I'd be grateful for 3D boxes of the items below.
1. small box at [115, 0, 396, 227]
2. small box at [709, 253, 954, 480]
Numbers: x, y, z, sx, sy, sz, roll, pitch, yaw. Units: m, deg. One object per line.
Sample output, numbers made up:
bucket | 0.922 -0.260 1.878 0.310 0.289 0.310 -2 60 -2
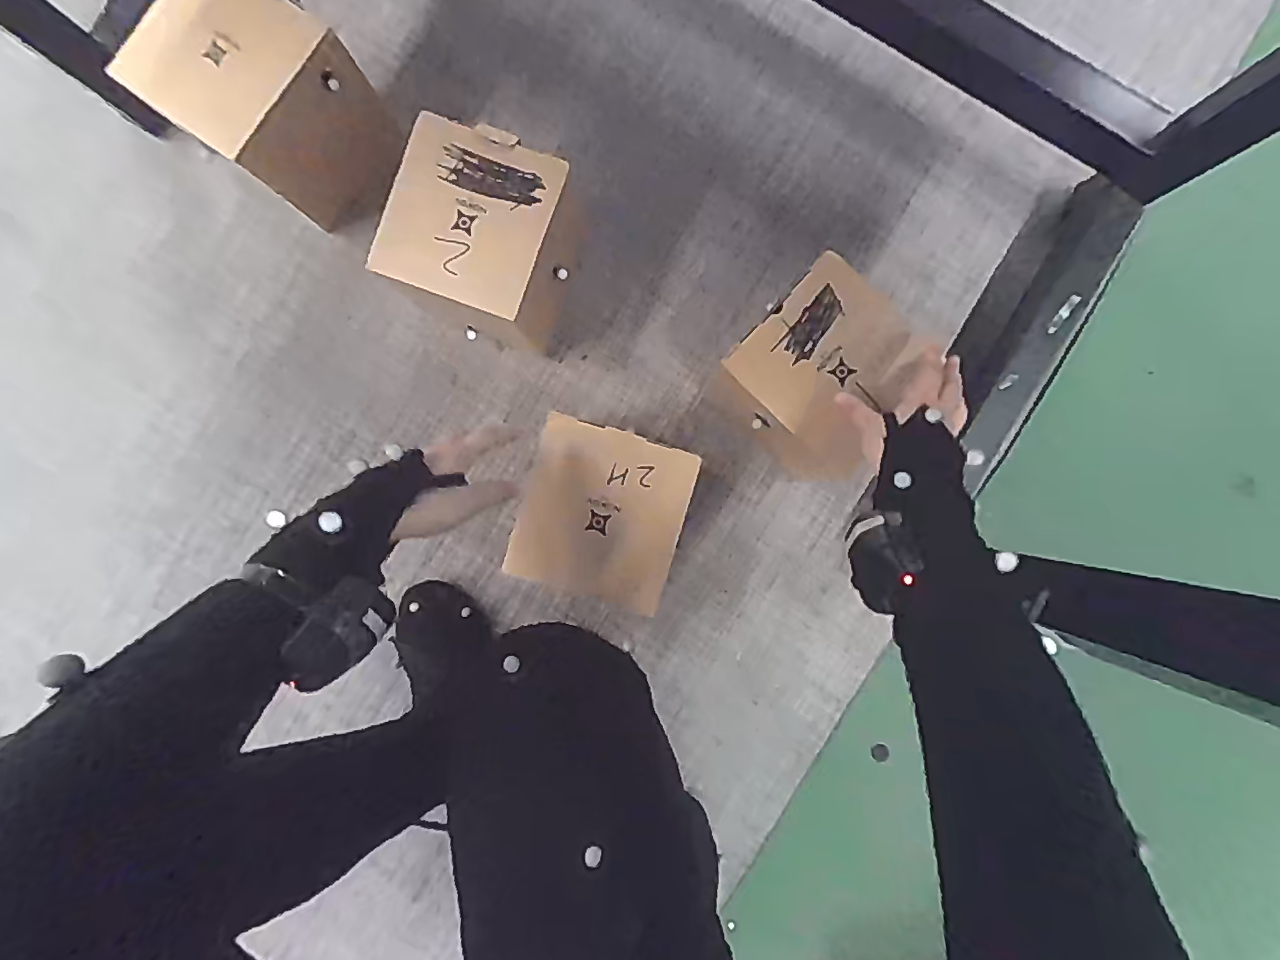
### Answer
small box | -0.426 -0.441 0.635 0.168 0.176 0.179 36 89 1
small box | 0.199 -0.113 0.622 0.179 0.176 0.168 45 90 -1
